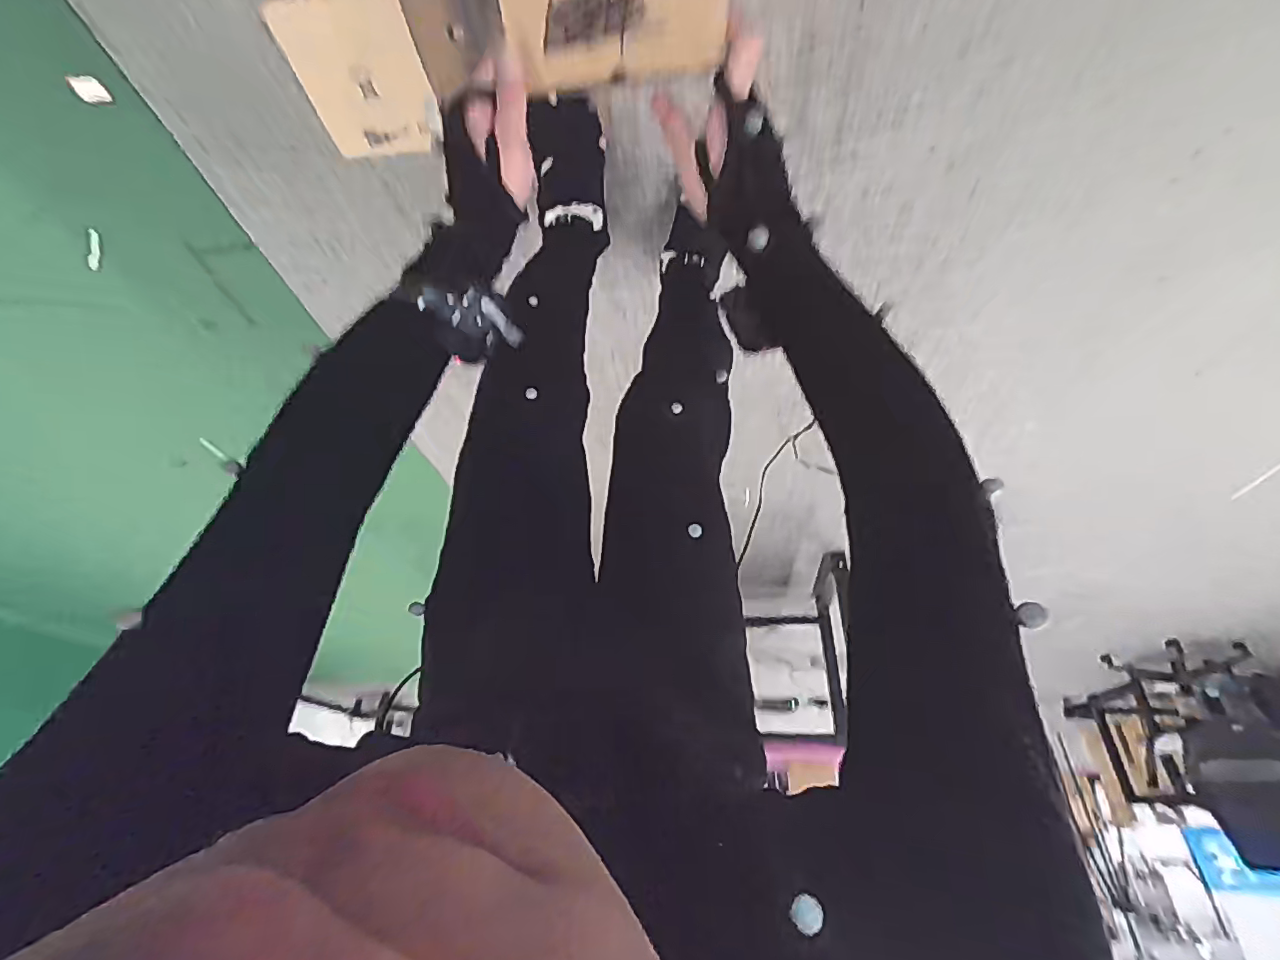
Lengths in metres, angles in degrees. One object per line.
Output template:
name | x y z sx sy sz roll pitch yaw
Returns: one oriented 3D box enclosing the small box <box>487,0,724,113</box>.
small box | -0.019 -0.405 0.429 0.168 0.176 0.179 1 124 10
